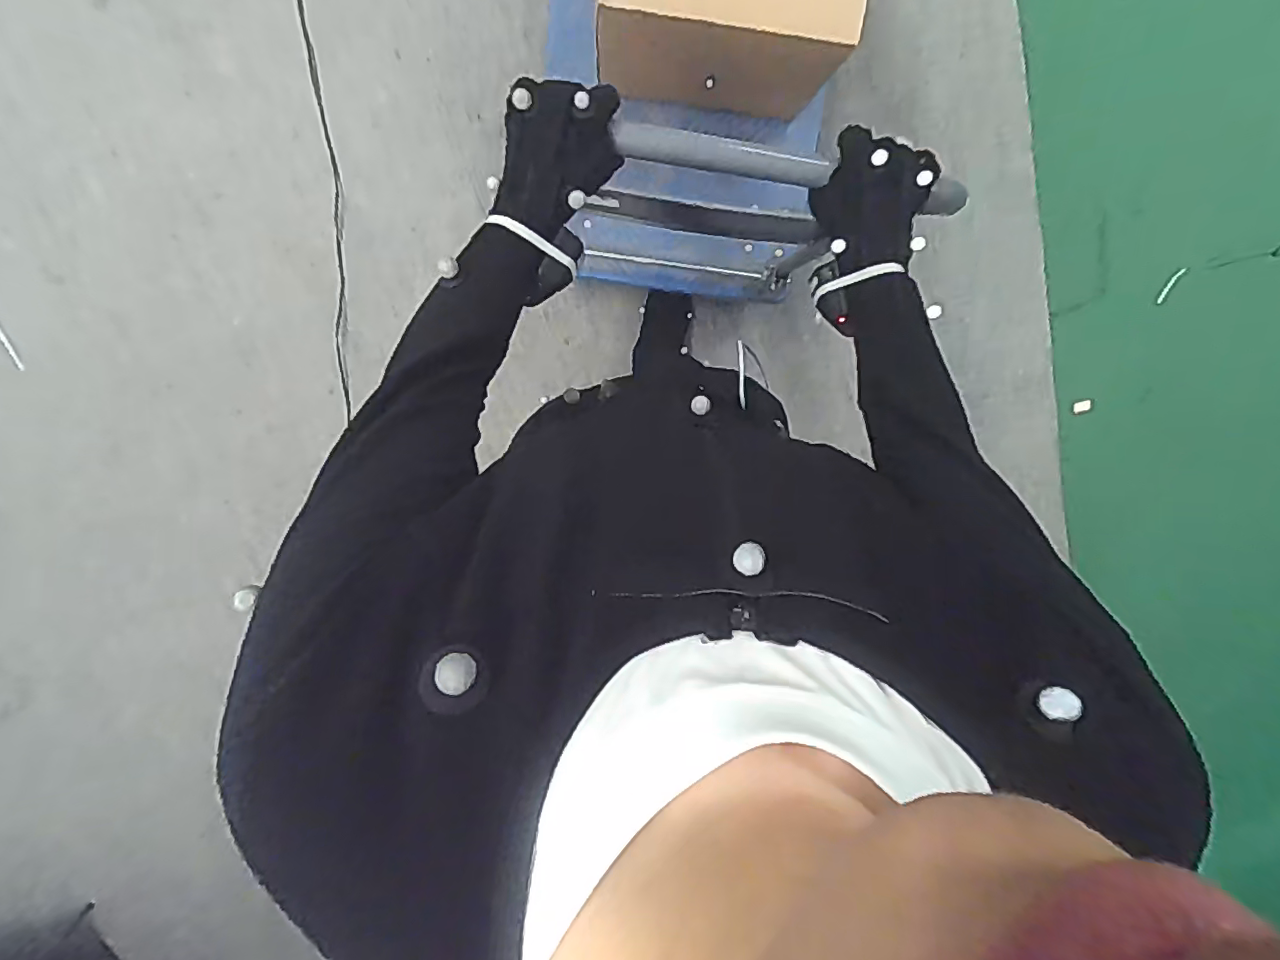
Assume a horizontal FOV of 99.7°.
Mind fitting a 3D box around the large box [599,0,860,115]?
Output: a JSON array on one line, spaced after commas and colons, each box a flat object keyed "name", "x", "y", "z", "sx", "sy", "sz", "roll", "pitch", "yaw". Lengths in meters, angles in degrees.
[{"name": "large box", "x": 0.143, "y": -0.875, "z": 0.930, "sx": 0.408, "sy": 0.320, "sz": 0.320, "roll": 5, "pitch": 104, "yaw": -4}]
